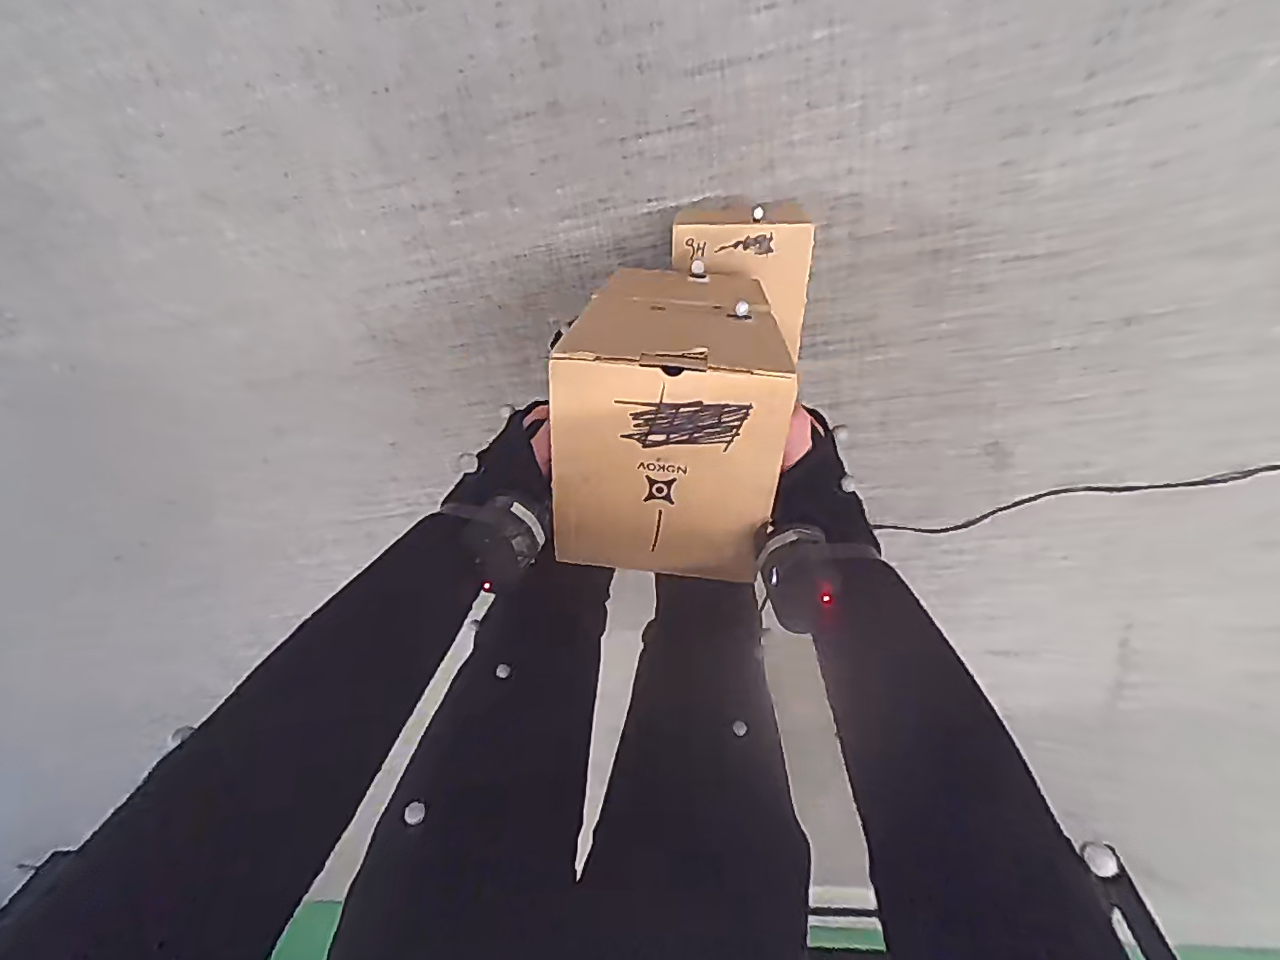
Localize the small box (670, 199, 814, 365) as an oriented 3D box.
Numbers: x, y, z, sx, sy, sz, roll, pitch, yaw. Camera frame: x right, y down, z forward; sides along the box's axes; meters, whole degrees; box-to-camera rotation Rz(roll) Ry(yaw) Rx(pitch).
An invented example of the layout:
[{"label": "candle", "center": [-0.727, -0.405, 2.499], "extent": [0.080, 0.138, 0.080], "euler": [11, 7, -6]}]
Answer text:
[{"label": "small box", "center": [0.129, -0.271, 0.730], "extent": [0.168, 0.176, 0.179], "euler": [3, 124, 7]}]

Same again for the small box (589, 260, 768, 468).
[{"label": "small box", "center": [0.042, -0.134, 0.596], "extent": [0.168, 0.176, 0.179], "euler": [5, 120, 5]}]
